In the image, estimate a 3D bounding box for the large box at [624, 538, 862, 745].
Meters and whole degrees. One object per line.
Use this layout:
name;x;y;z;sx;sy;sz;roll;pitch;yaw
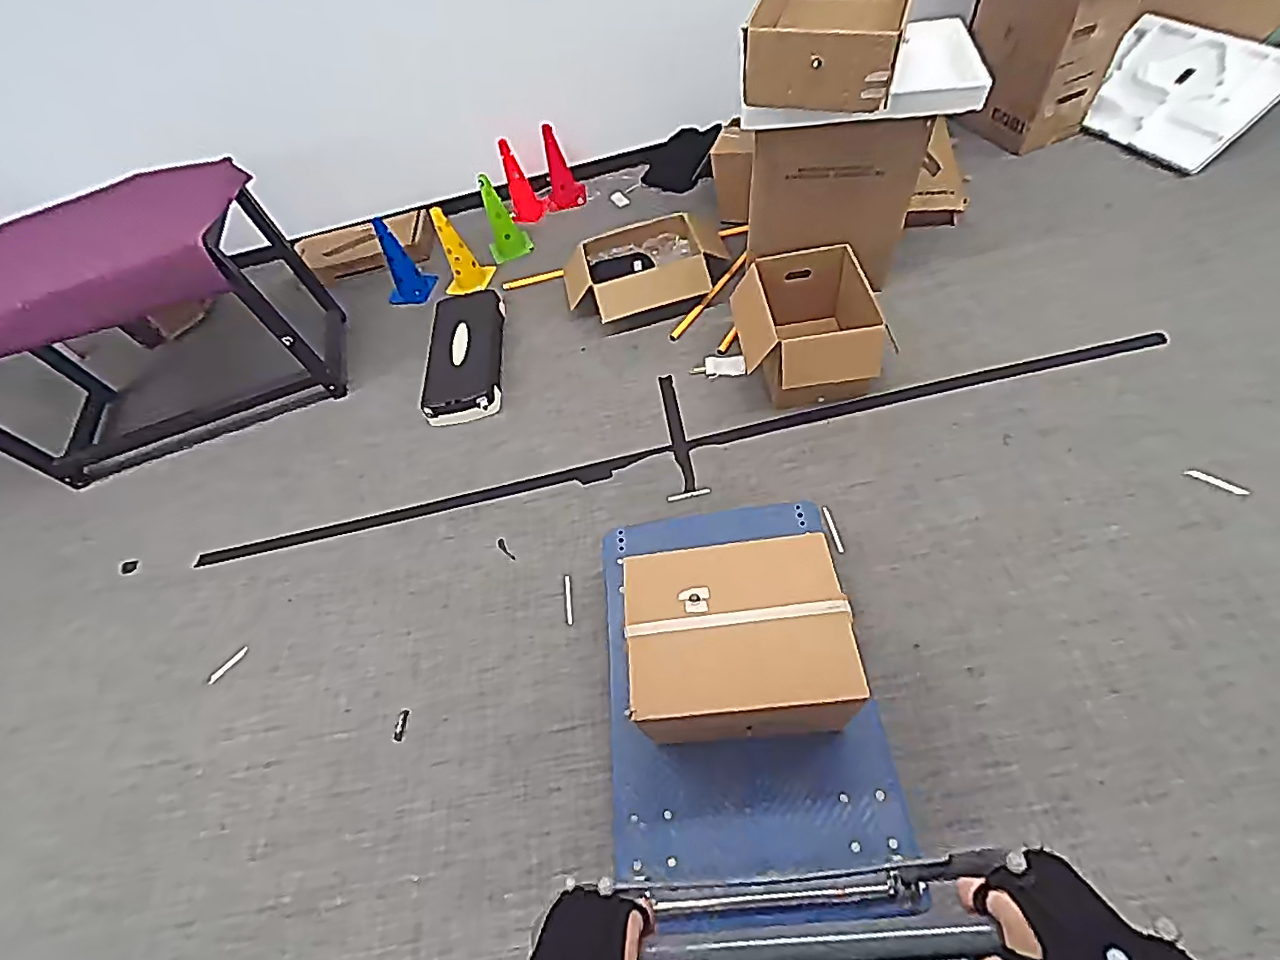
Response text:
large box;0.200;0.354;1.139;0.408;0.320;0.320;-9;55;6
